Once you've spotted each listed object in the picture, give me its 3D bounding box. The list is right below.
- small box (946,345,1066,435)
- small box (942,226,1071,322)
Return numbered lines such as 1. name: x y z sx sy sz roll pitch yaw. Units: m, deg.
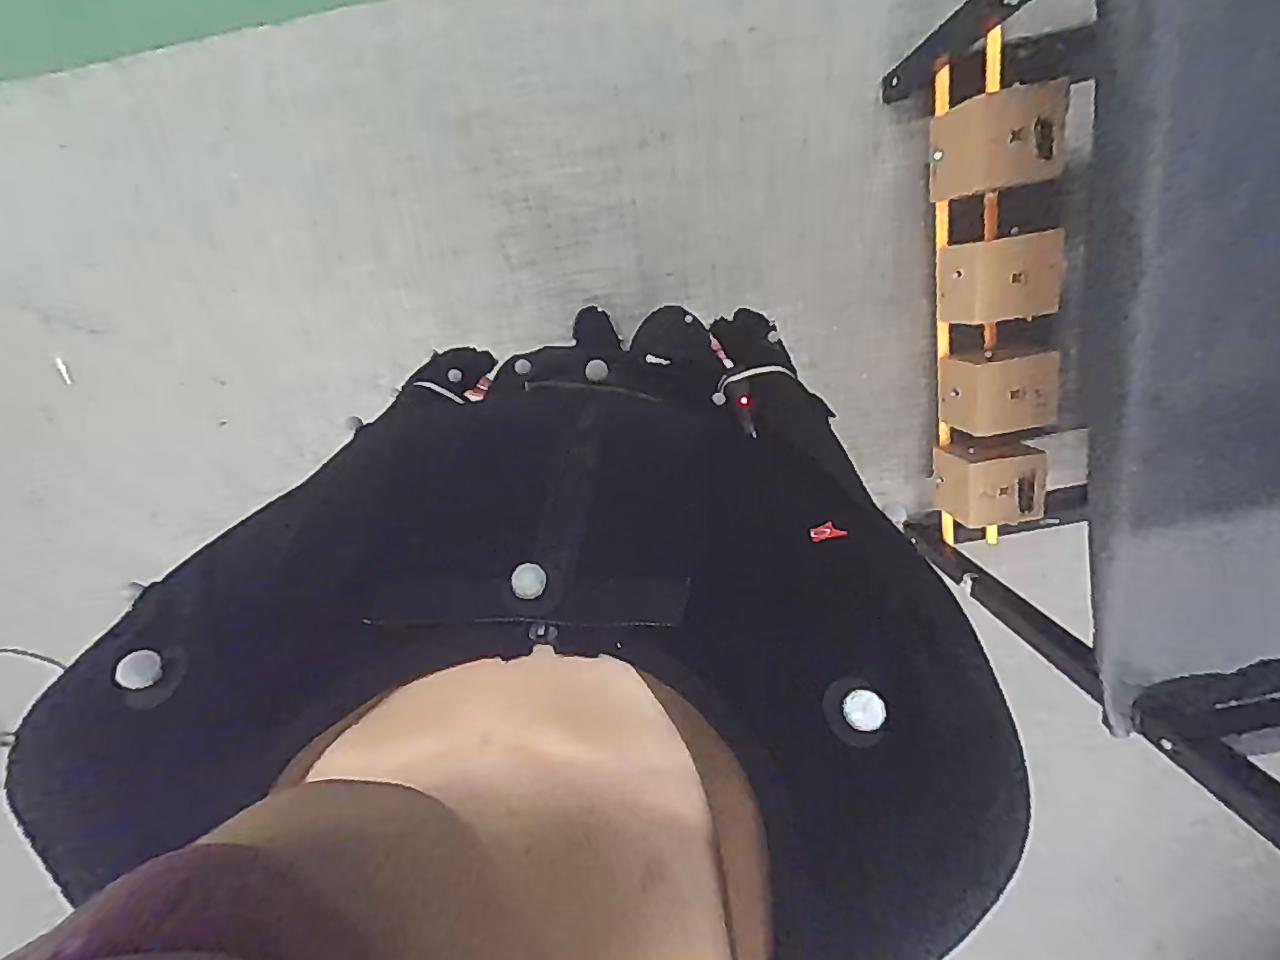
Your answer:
1. small box: 0.838 -0.213 1.256 0.179 0.176 0.168 -10 108 3
2. small box: 0.788 -0.443 1.184 0.179 0.176 0.168 -9 108 3
